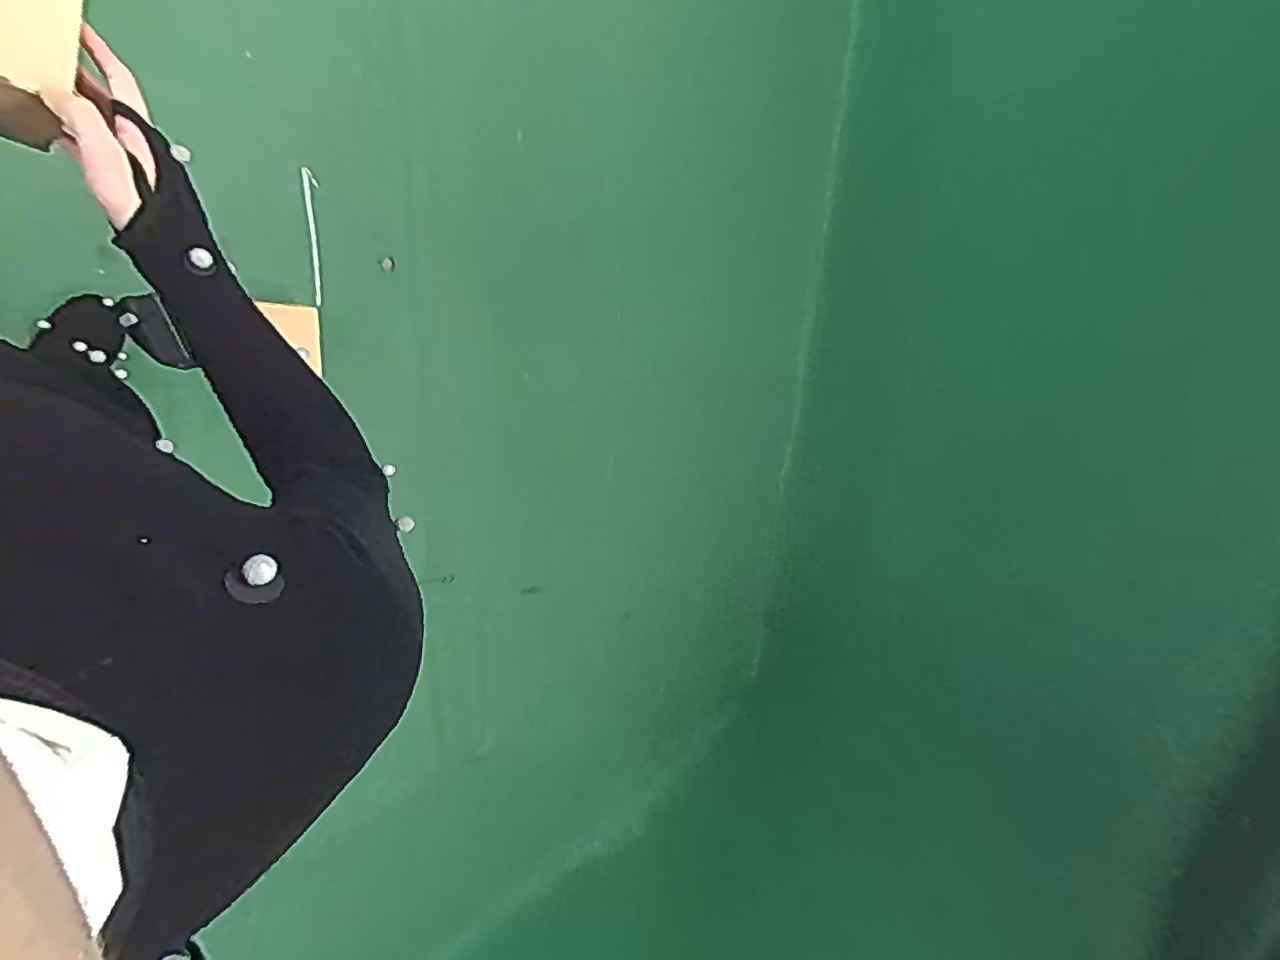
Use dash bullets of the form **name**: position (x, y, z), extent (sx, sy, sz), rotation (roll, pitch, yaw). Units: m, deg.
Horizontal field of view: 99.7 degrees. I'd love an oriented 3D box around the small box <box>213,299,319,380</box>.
- **small box**: position (-0.883, -0.333, 1.278), extent (0.179, 0.176, 0.168), rotation (-9, 112, -42)
